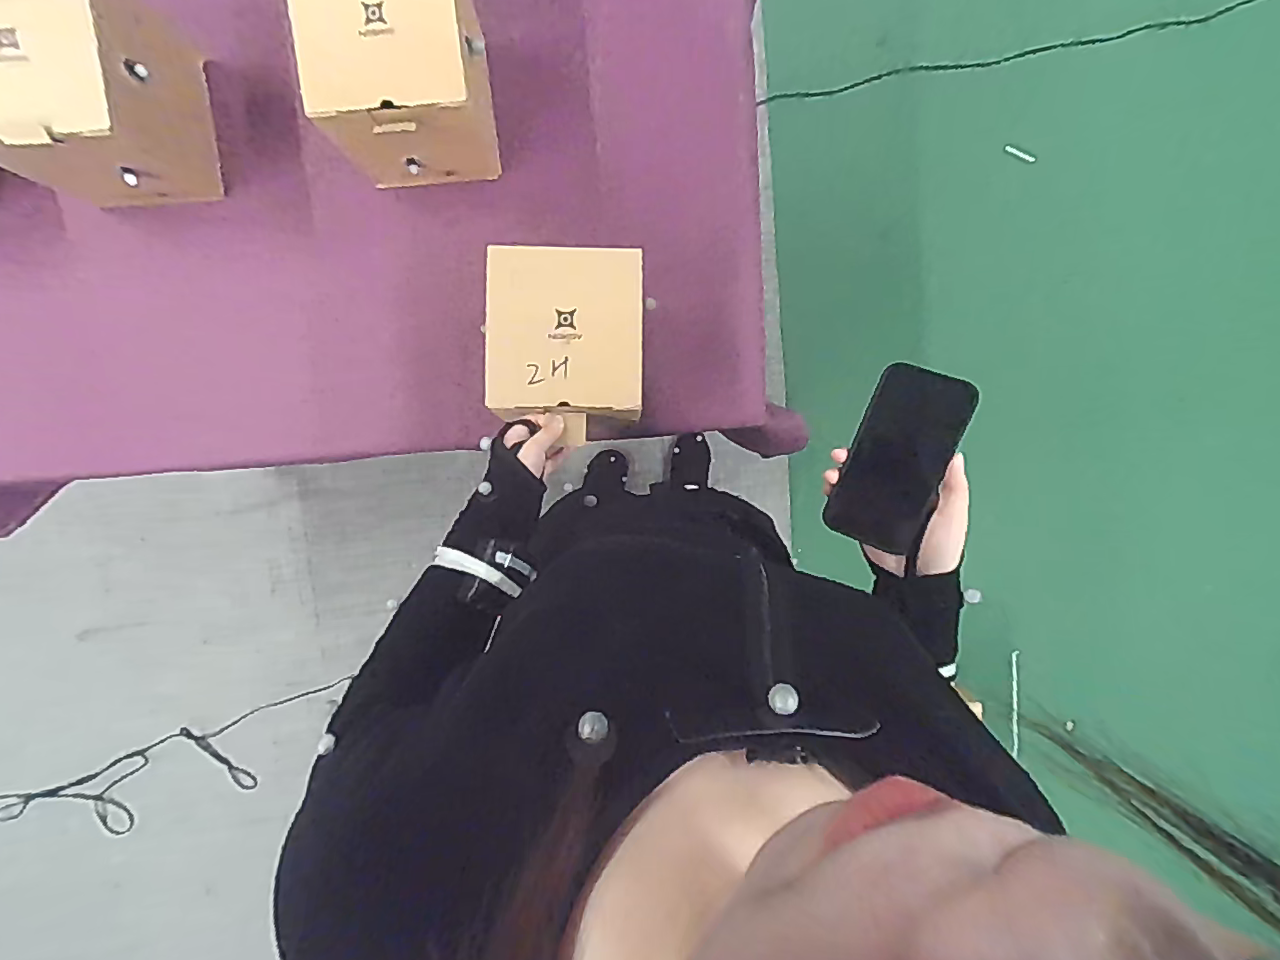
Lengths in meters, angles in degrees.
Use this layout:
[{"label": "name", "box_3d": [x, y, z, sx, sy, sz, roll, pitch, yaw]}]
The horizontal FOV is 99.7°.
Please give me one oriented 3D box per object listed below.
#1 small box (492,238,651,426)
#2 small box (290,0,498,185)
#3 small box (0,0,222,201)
[{"label": "small box", "box_3d": [-0.075, -0.165, 0.650, 0.168, 0.176, 0.179, 1, 89, -2]}, {"label": "small box", "box_3d": [-0.270, -0.472, 0.623, 0.168, 0.176, 0.179, -7, 97, -2]}, {"label": "small box", "box_3d": [-0.617, -0.433, 0.611, 0.168, 0.176, 0.179, -4, 96, -3]}]
